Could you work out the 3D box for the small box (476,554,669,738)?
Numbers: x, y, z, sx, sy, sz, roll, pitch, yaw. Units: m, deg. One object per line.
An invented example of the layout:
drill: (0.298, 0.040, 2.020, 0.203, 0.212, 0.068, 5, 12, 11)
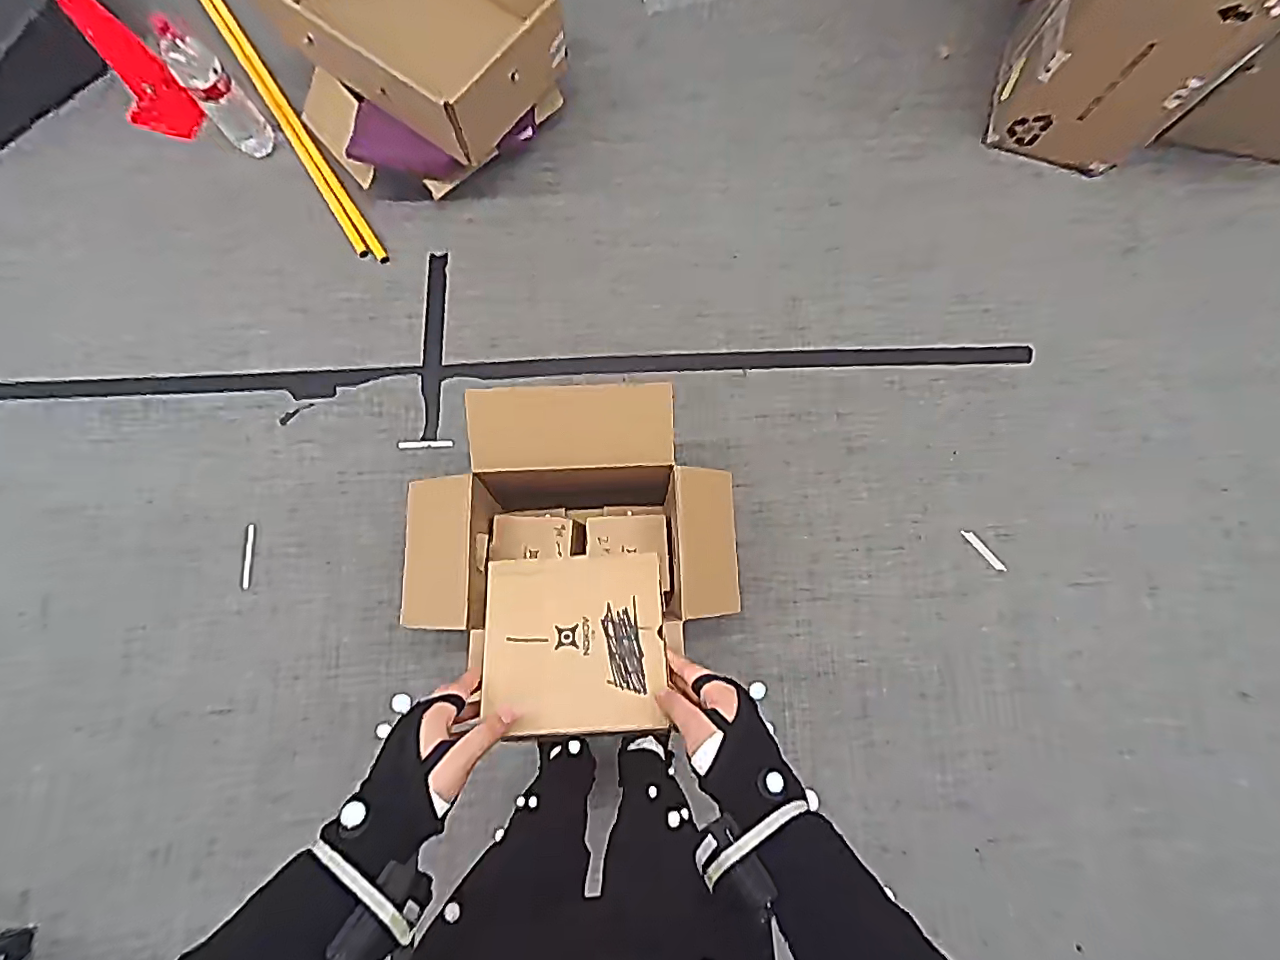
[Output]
small box: (-0.066, 0.187, 0.593, 0.179, 0.176, 0.168, -3, 63, -2)
